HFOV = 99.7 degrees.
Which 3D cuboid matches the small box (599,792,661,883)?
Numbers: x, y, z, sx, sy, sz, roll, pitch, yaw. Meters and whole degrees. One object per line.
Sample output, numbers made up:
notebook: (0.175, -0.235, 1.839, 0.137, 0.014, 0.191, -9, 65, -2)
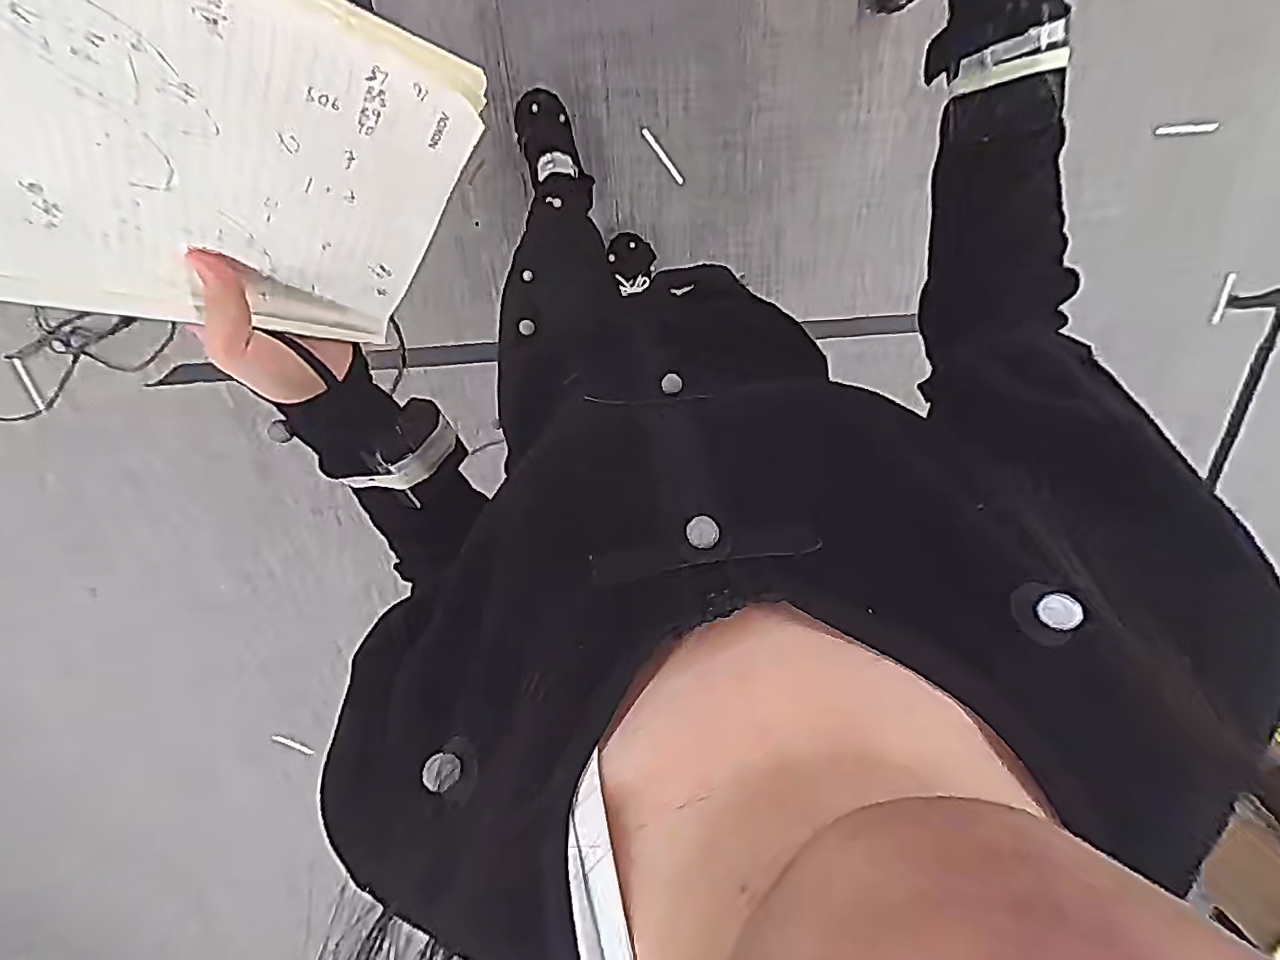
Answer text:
small box: (-0.034, 1.079, 1.646, 0.168, 0.176, 0.179, -8, 116, -1)
